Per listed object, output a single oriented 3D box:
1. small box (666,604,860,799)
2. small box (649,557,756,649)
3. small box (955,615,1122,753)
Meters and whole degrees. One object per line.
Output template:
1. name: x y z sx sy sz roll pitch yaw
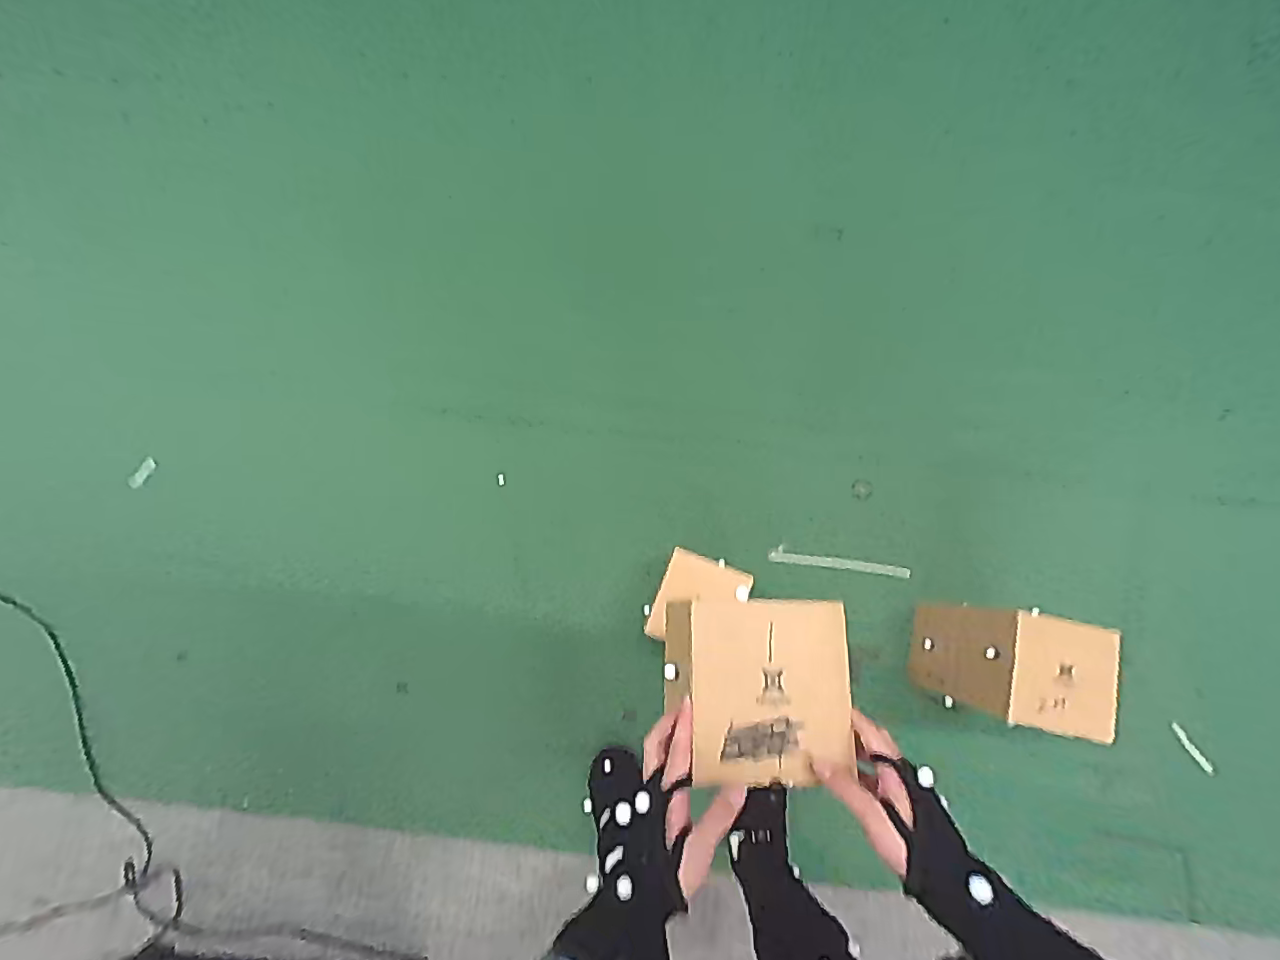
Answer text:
1. small box: 0.123 0.232 0.602 0.168 0.176 0.179 3 75 -6
2. small box: 0.121 0.271 1.120 0.168 0.176 0.179 21 81 4
3. small box: 0.675 0.338 0.932 0.168 0.176 0.179 12 80 3
